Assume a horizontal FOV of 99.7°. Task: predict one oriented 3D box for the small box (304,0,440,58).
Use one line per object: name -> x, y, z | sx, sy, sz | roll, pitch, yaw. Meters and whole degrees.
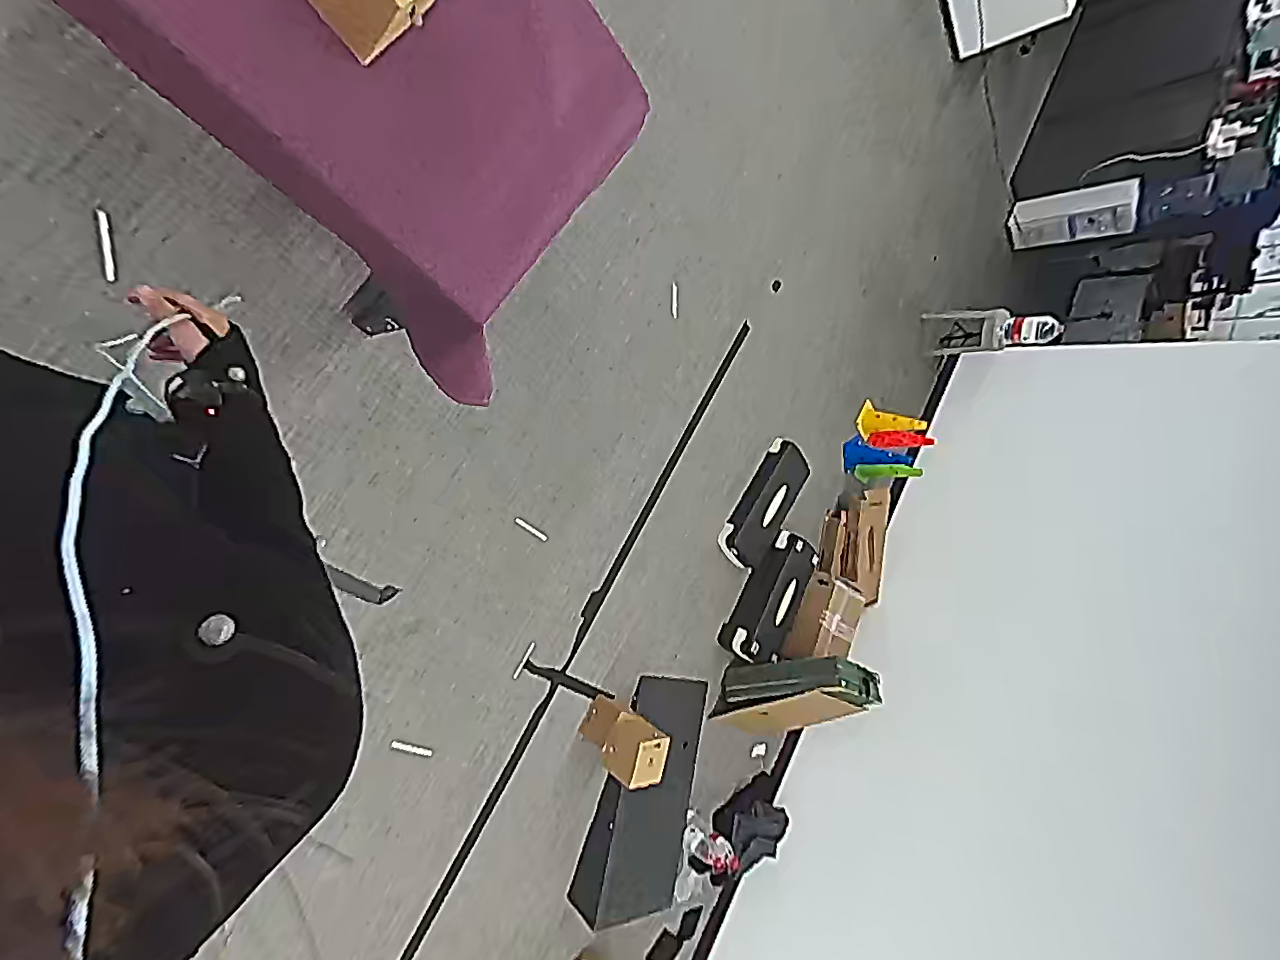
small box -> -0.351, -0.688, 0.689 | 0.179, 0.176, 0.168 | 45, 69, -37
